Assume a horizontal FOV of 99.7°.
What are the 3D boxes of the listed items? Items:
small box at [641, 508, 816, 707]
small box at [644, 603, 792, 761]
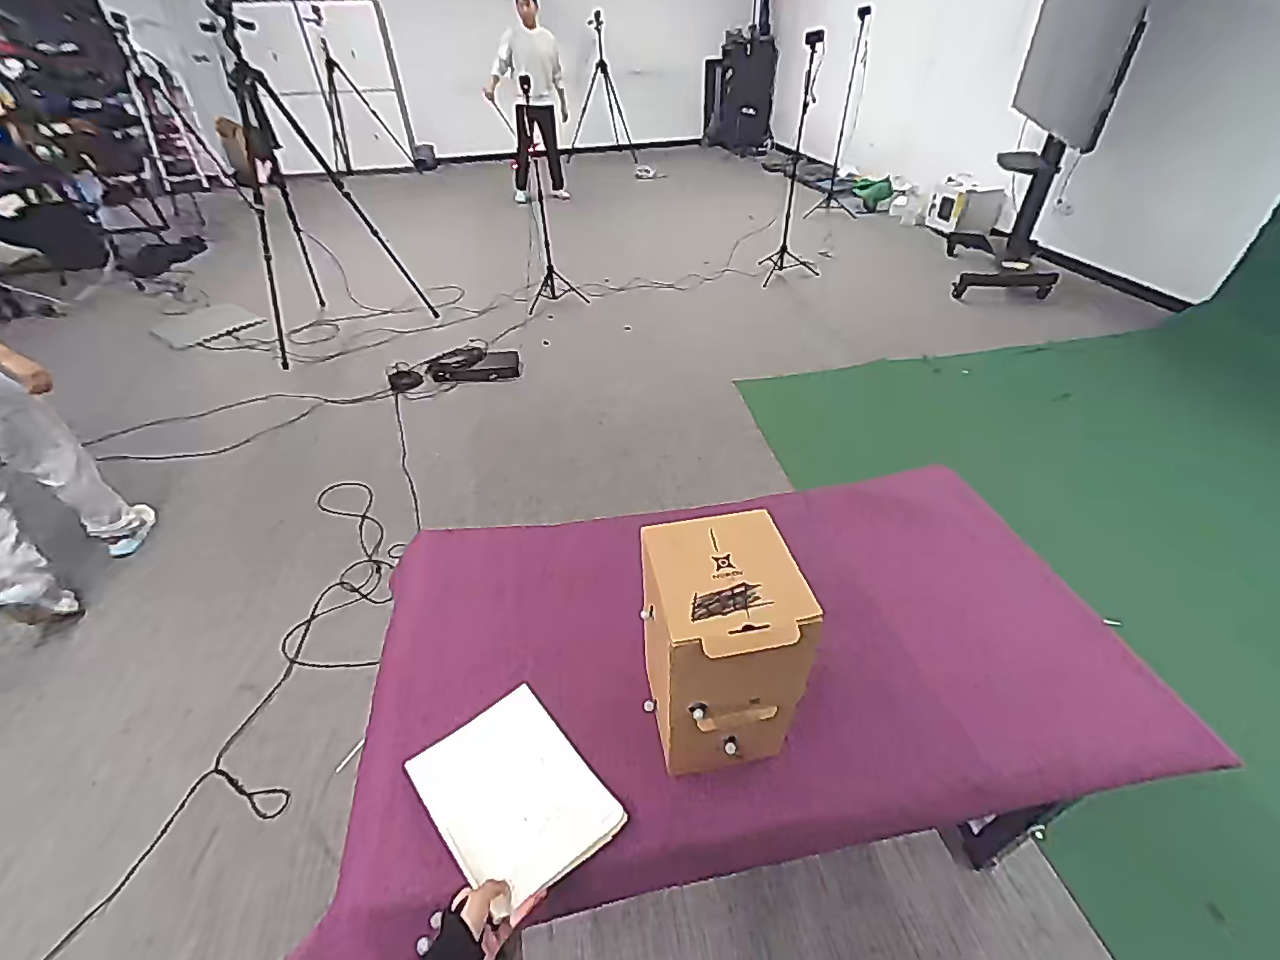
[{"bbox_3d":[0.098,0.162,0.674,0.168,0.176,0.179,-7,39,-6],"label":"small box"},{"bbox_3d":[0.103,0.285,0.785,0.168,0.176,0.179,-7,41,-7],"label":"small box"}]
